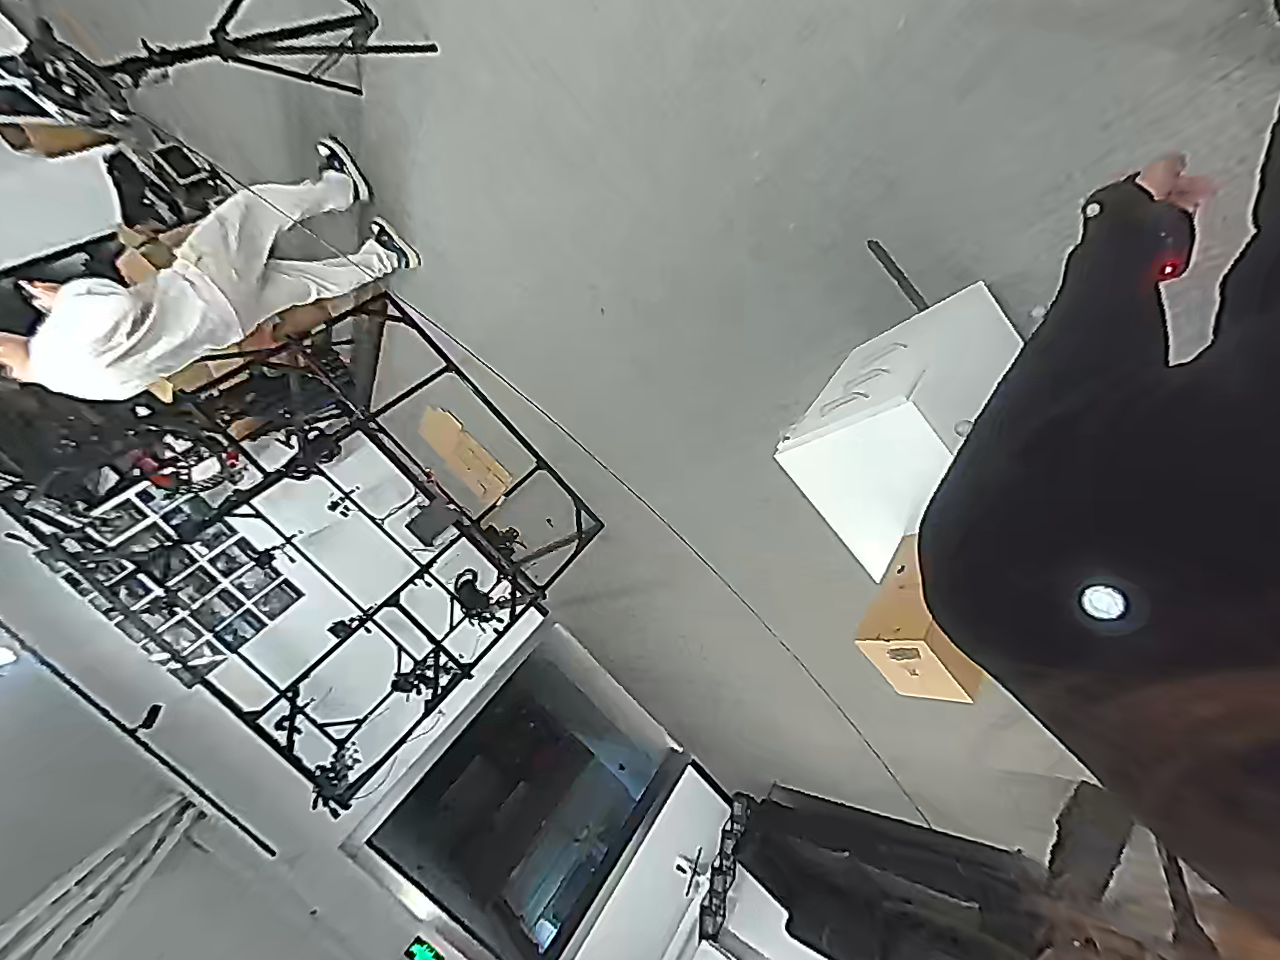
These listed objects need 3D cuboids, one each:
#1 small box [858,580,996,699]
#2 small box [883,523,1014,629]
[{"bbox_3d":[0.600,0.323,1.128,0.179,0.176,0.168,48,150,-9],"label":"small box"},{"bbox_3d":[0.694,0.219,1.215,0.168,0.176,0.179,48,150,-8],"label":"small box"}]
